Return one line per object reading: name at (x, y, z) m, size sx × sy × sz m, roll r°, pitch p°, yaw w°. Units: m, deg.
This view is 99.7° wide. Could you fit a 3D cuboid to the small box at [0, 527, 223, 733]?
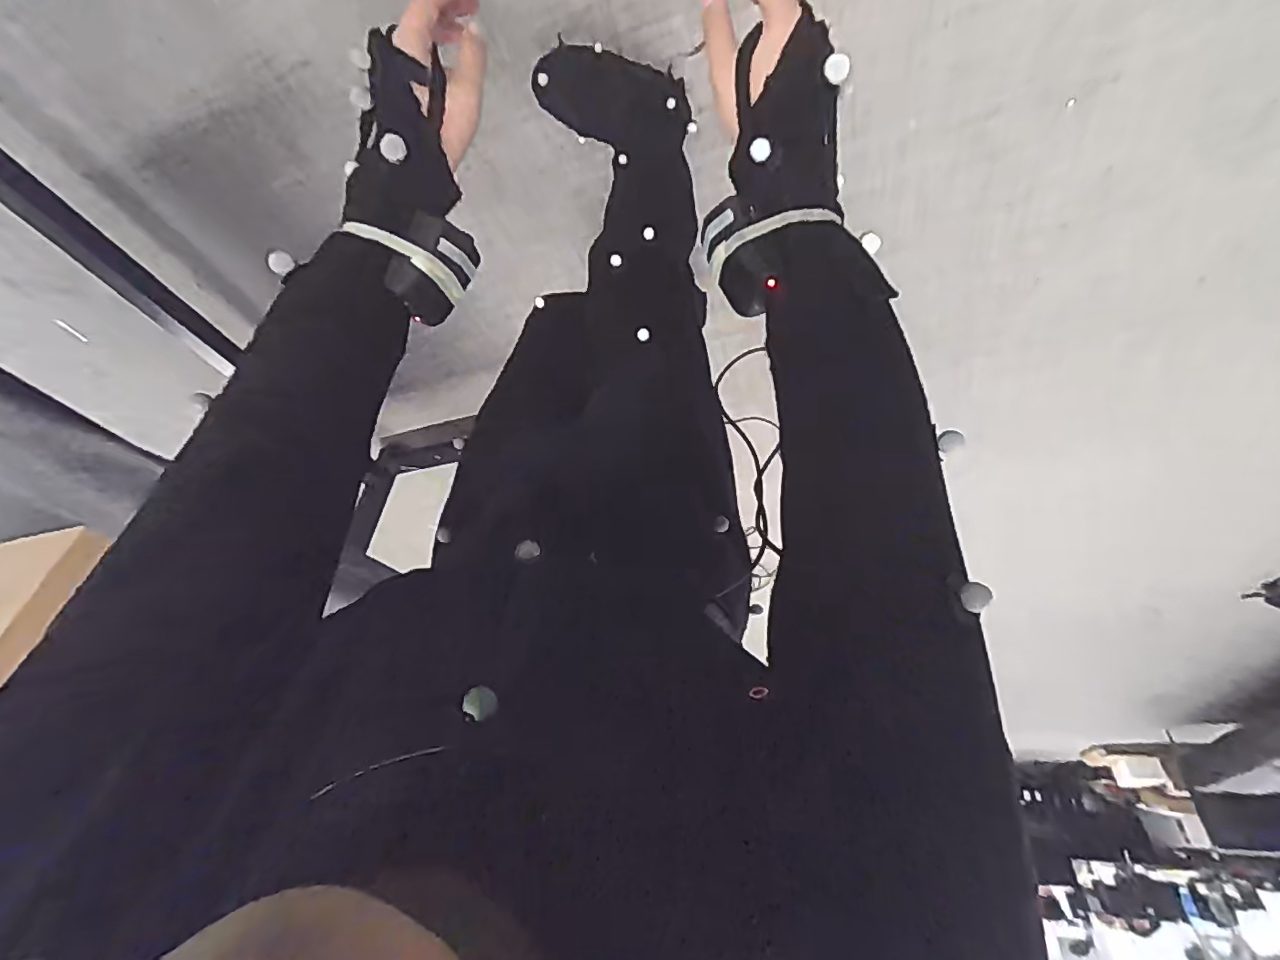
small box at (-0.619, 0.169, 0.596) m, size 0.179 × 0.176 × 0.168 m, roll -10°, pitch 142°, yaw 19°
